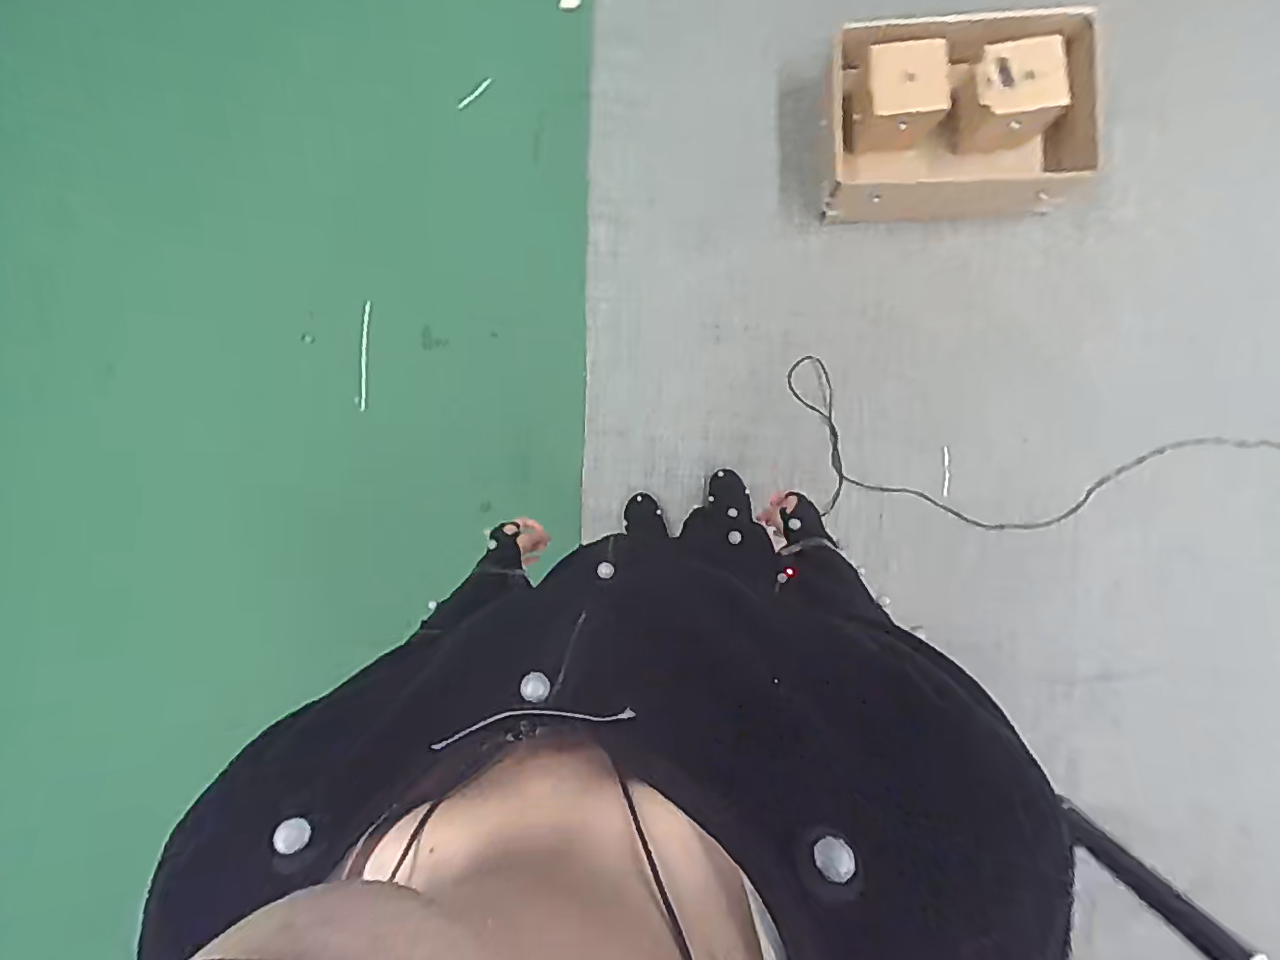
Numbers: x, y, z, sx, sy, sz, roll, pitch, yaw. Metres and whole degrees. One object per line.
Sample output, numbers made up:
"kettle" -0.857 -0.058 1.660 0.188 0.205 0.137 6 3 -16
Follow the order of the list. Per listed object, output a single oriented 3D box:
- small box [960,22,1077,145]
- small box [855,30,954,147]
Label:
"small box" 0.909 -0.953 1.318 0.179 0.176 0.168 -7 90 5
"small box" 0.644 -0.958 1.341 0.179 0.176 0.168 -4 91 4
